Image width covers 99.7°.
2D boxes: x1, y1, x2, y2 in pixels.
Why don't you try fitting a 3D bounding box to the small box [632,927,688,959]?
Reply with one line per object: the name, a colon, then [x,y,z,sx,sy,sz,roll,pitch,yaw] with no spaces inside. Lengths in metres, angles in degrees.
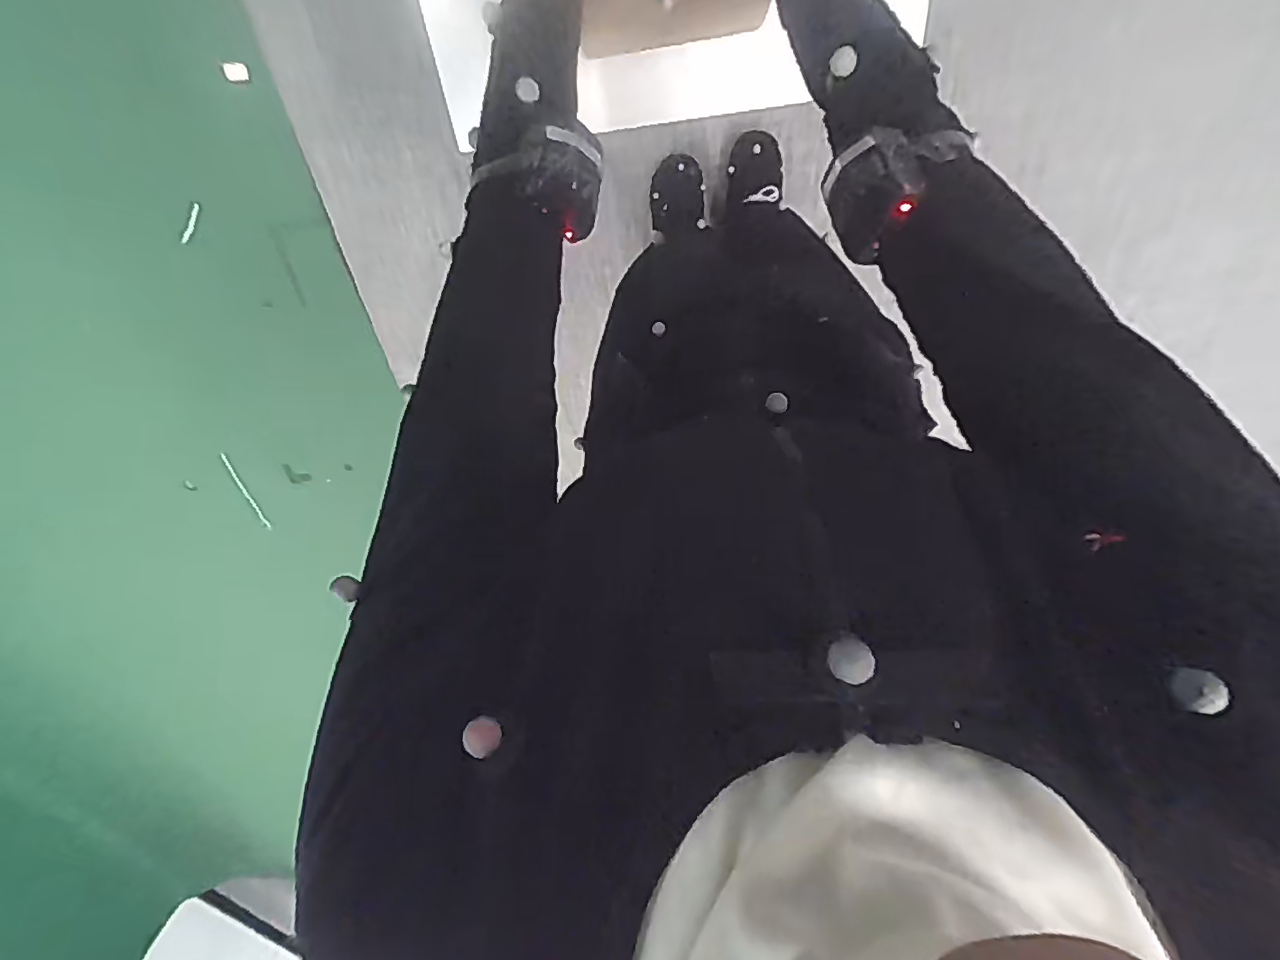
small box: [0.068,1.585,1.761,0.179,0.176,0.168,-3,125,8]
